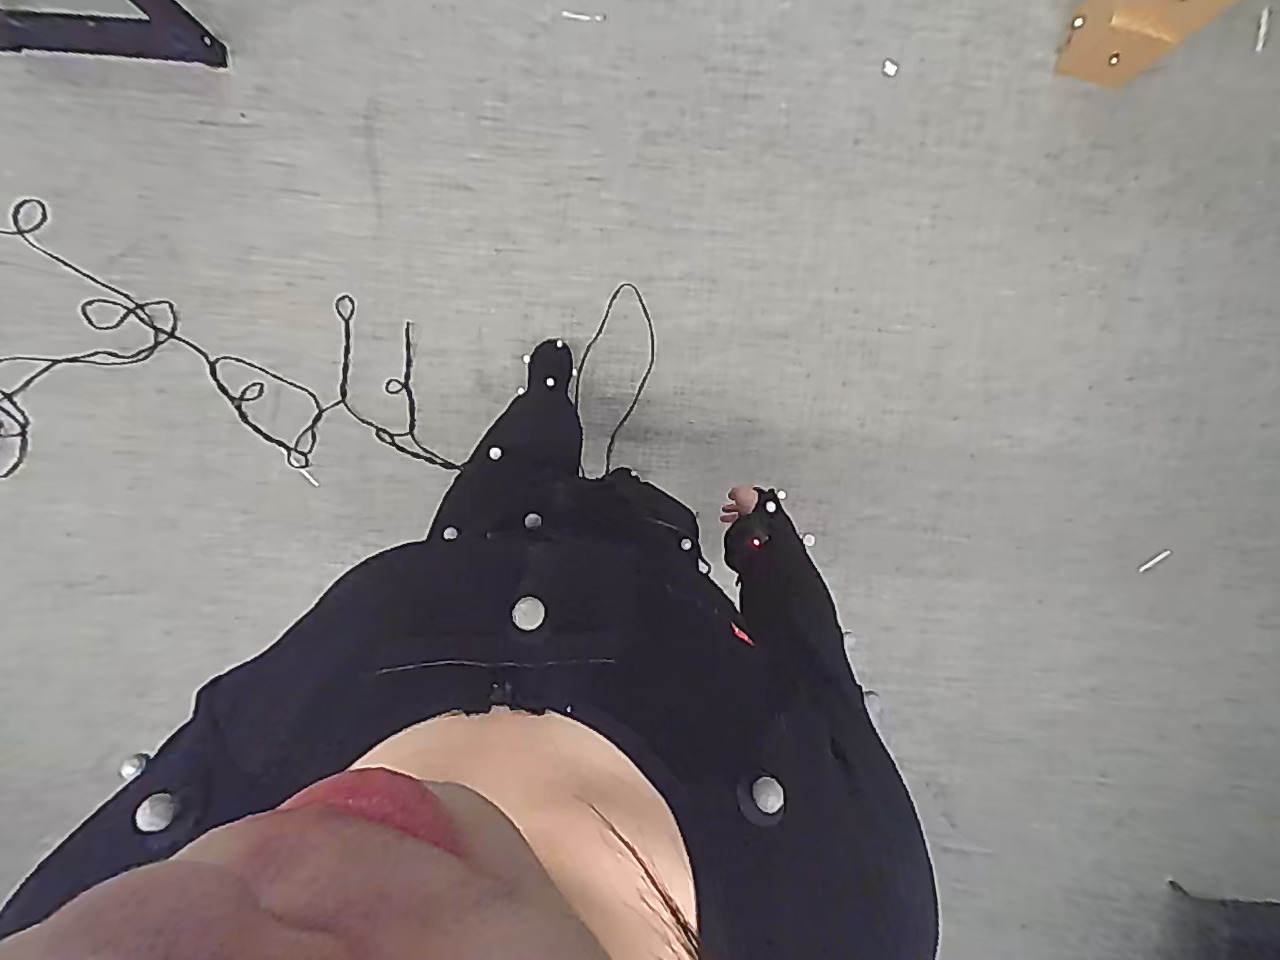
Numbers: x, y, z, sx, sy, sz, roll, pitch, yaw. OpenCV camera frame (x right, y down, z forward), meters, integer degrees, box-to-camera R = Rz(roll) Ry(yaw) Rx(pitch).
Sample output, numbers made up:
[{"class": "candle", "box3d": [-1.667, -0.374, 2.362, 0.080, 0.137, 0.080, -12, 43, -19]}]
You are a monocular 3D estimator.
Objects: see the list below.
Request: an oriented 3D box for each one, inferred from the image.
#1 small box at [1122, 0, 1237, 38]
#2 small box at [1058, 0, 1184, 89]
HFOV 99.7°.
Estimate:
[{"class": "small box", "box3d": [1.198, -1.100, 1.152, 0.179, 0.176, 0.168, 18, 95, -2]}, {"class": "small box", "box3d": [1.182, -1.098, 1.315, 0.179, 0.176, 0.168, 14, 95, -2]}]
